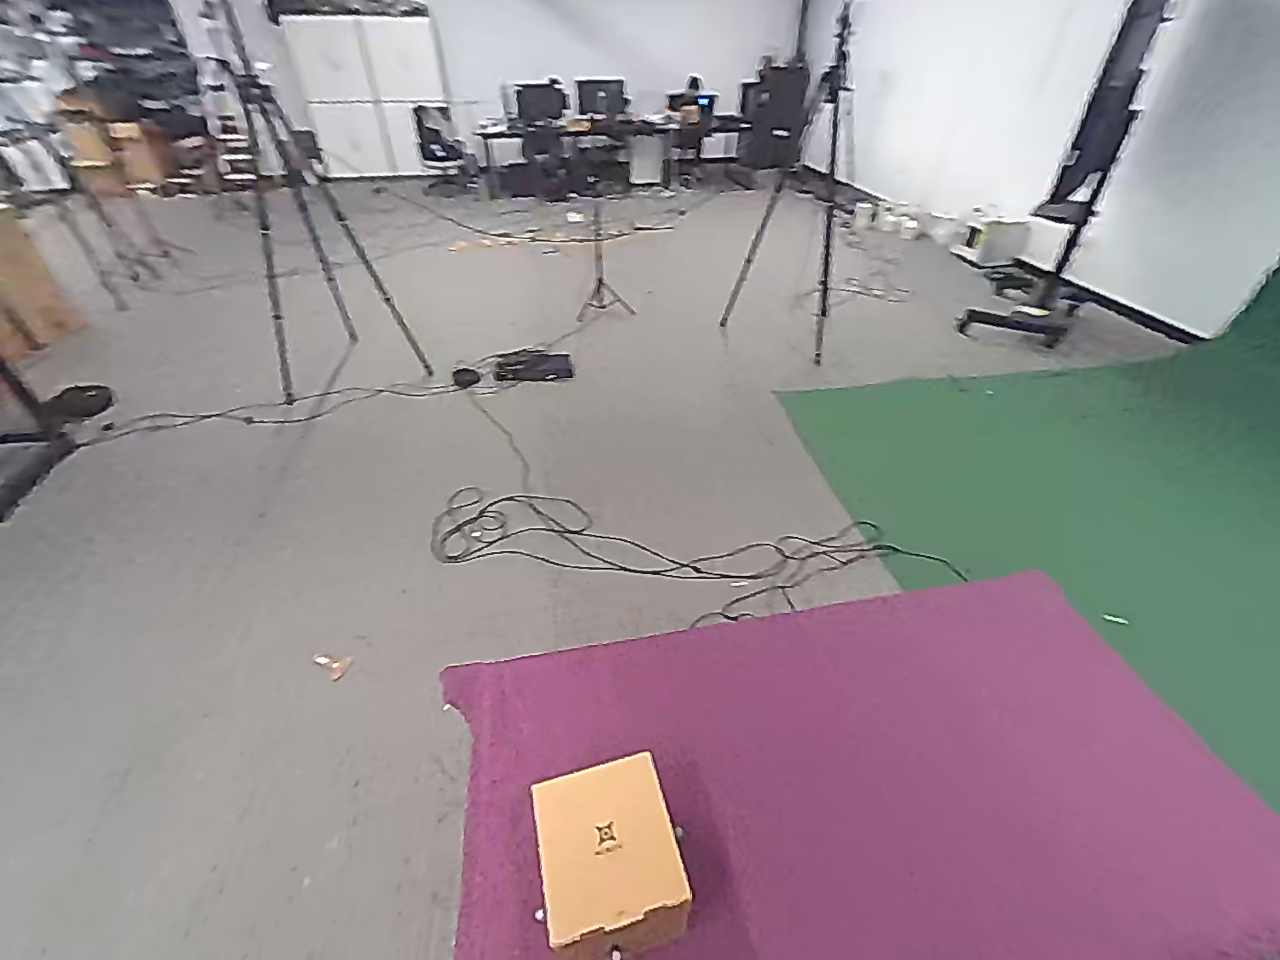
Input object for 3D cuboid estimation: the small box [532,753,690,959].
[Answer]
[{"bbox_3d":[-0.044,0.503,0.715,0.168,0.176,0.179,-10,41,-13],"label":"small box"}]
